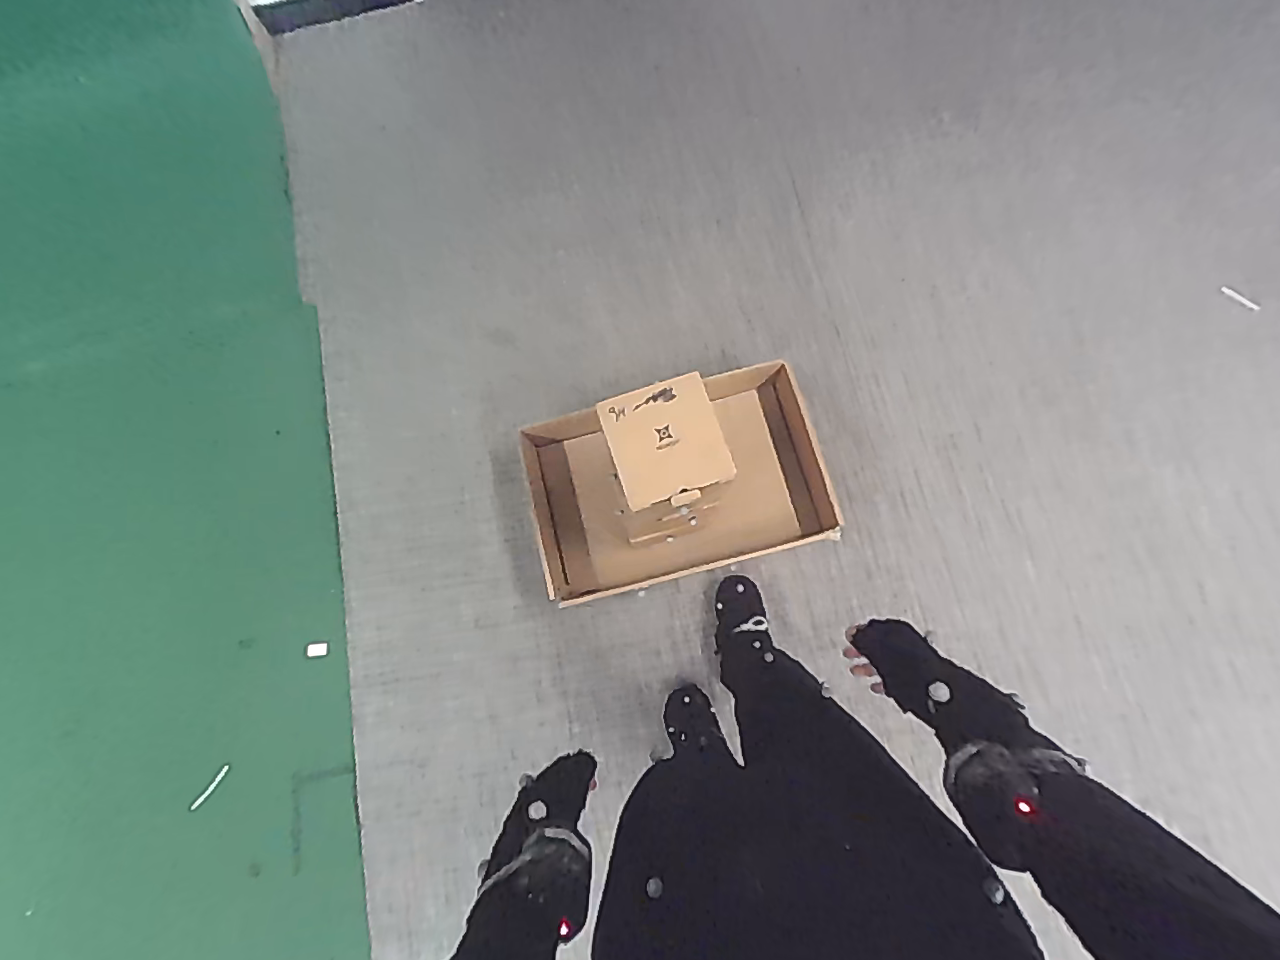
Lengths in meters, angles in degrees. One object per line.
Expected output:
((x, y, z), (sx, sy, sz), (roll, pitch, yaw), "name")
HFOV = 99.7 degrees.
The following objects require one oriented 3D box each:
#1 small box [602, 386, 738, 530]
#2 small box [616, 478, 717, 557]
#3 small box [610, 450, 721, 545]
((0.047, -0.023, 0.871), (0.168, 0.176, 0.179), (-17, 77, -2), "small box")
((0.057, 0.065, 1.184), (0.179, 0.176, 0.168), (-16, 76, 1), "small box")
((0.048, 0.020, 1.030), (0.168, 0.176, 0.179), (-15, 75, -2), "small box")
